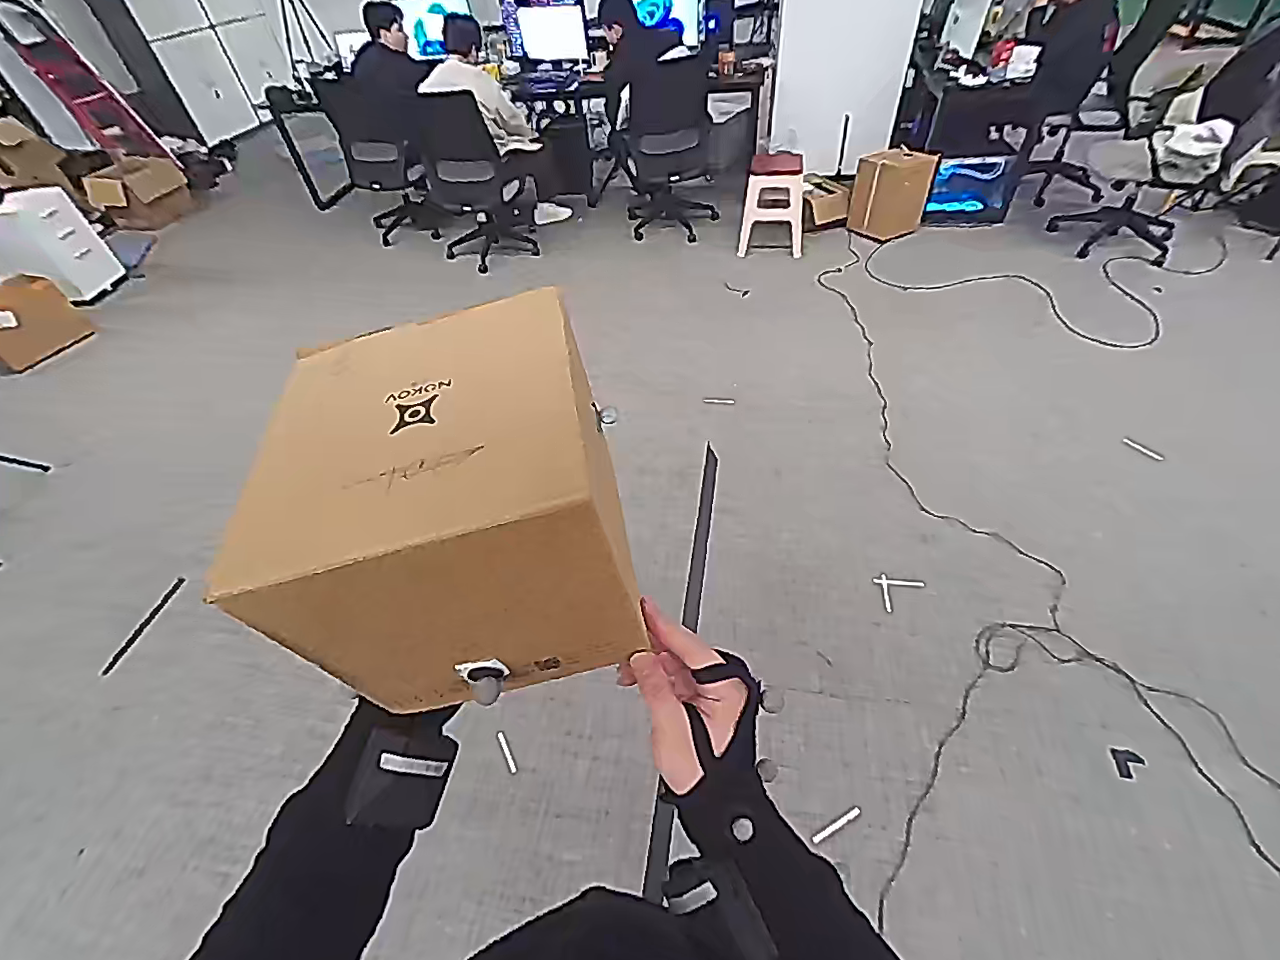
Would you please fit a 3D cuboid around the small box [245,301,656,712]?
[{"bbox_3d":[-0.094,0.020,0.346,0.168,0.176,0.179,-15,50,0],"label":"small box"}]
